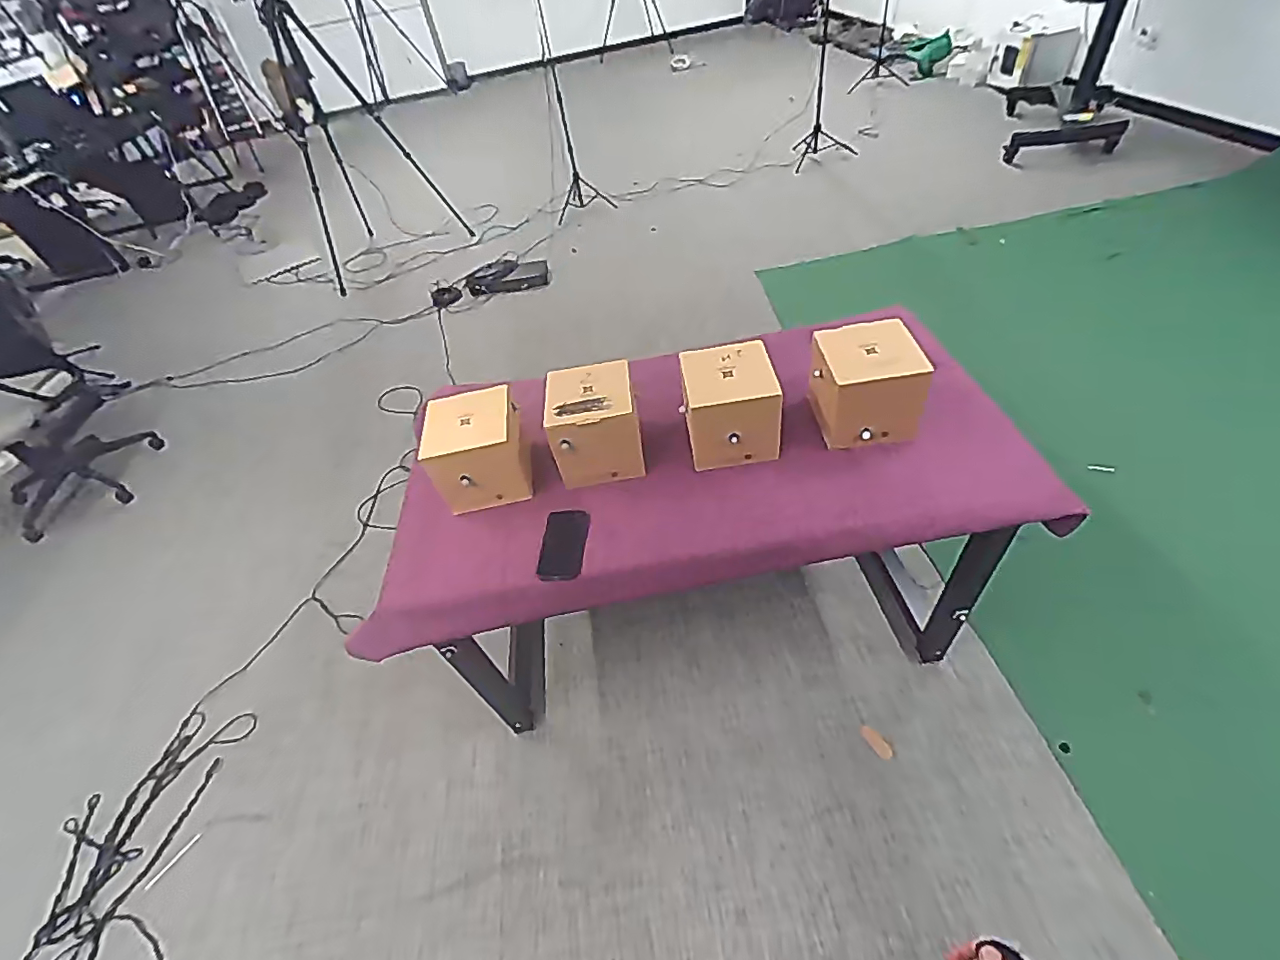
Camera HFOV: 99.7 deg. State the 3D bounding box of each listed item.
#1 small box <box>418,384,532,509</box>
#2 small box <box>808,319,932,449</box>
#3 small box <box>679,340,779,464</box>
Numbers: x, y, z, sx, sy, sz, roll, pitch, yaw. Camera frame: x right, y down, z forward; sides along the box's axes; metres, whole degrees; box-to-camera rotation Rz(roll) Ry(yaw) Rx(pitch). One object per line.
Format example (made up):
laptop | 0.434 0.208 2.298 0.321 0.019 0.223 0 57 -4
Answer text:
small box | -0.319 -0.060 1.082 0.168 0.176 0.179 -13 46 0
small box | 0.431 -0.184 1.048 0.168 0.176 0.179 -8 47 6
small box | 0.173 -0.147 1.063 0.168 0.176 0.179 -8 47 4
